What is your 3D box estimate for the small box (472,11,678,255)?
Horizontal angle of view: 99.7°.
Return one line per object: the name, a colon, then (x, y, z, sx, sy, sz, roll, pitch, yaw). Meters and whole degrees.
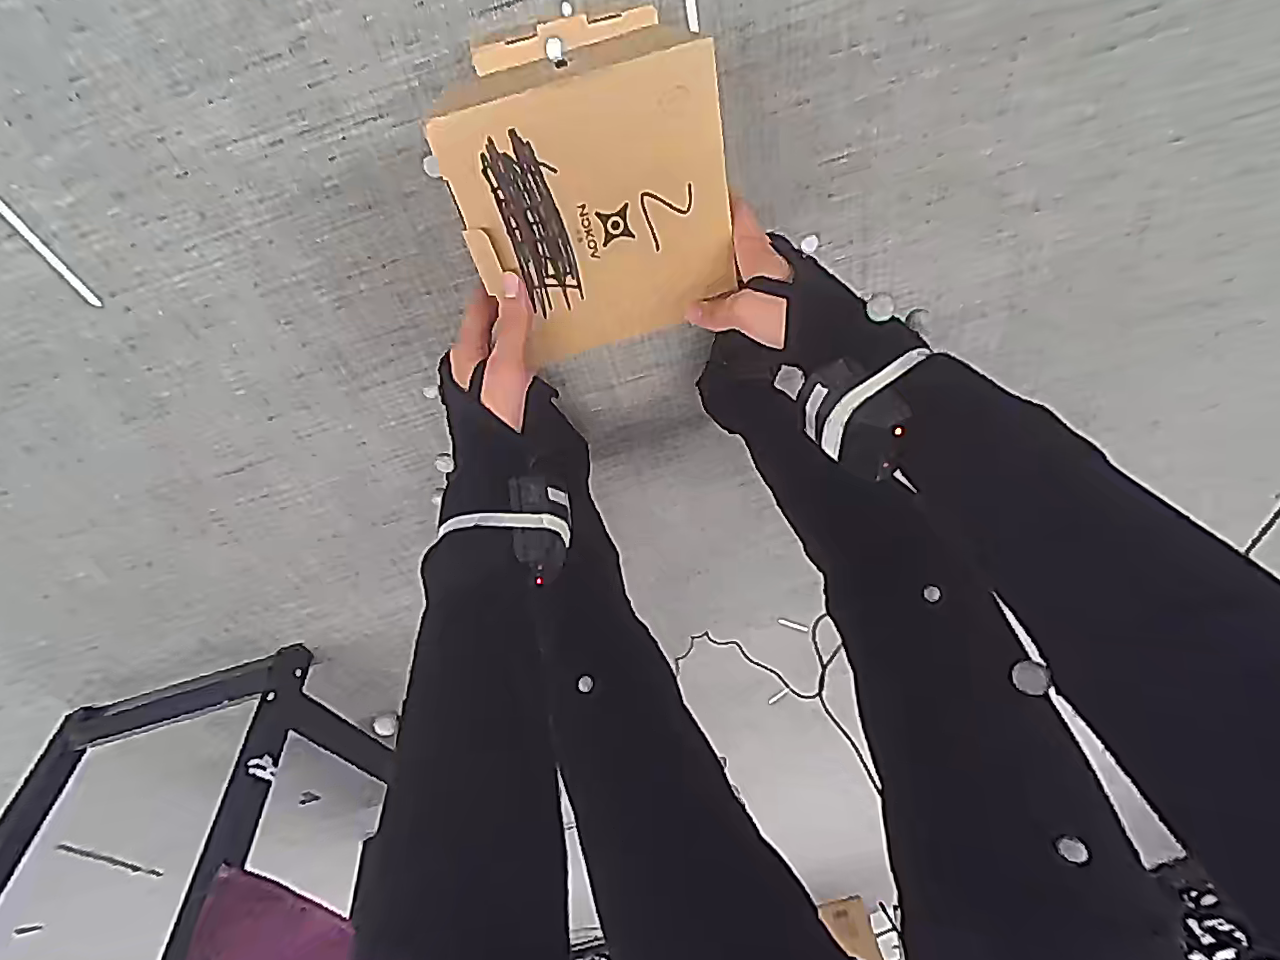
small box: (-0.063, -0.373, 0.580, 0.168, 0.176, 0.179, -14, 132, 0)
